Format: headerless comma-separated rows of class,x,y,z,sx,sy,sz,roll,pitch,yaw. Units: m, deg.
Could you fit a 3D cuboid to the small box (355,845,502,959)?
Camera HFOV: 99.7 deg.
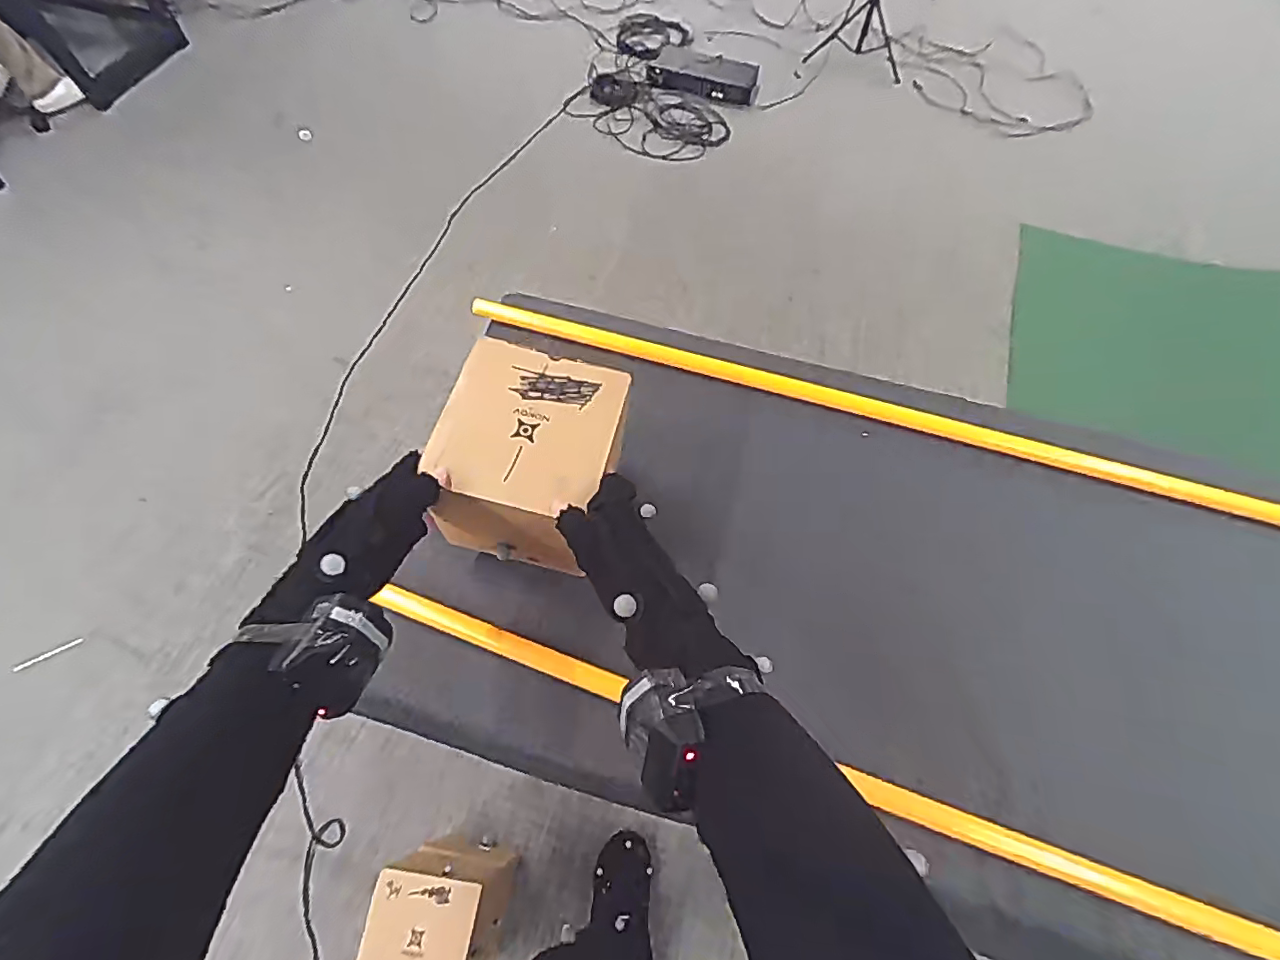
small box,-0.338,0.725,0.889,0.168,0.176,0.179,5,63,3

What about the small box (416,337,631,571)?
small box,-0.116,-0.020,0.595,0.168,0.176,0.179,14,64,0
